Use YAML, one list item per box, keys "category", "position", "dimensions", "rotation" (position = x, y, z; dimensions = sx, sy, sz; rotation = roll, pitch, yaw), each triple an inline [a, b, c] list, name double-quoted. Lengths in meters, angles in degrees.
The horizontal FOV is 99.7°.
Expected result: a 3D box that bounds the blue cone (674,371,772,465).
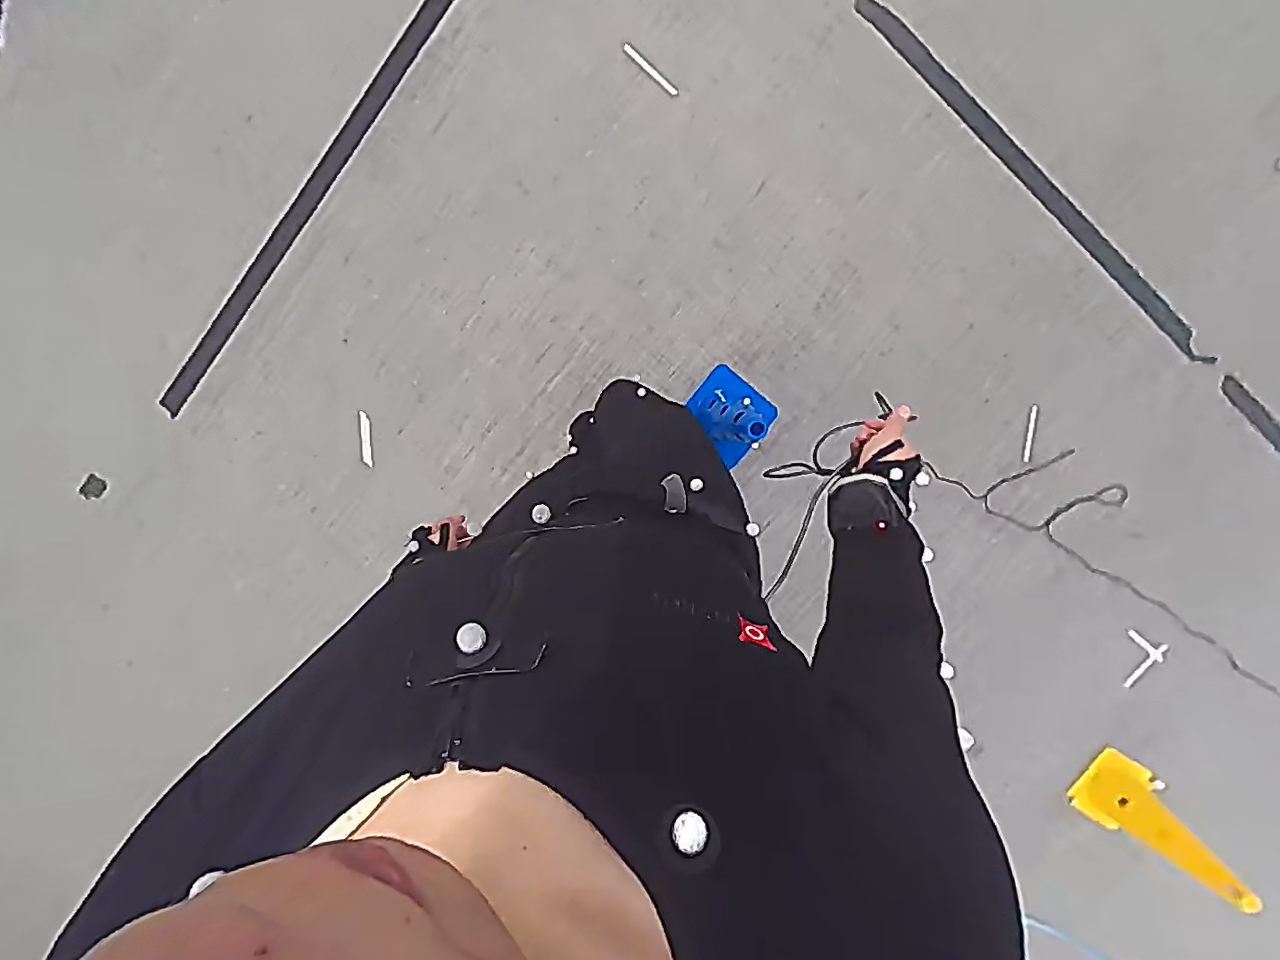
- category: "blue cone"
  position: [0.207, -0.122, 1.170]
  dimensions: [0.193, 0.380, 0.192]
  rotation: [40, 98, -7]
